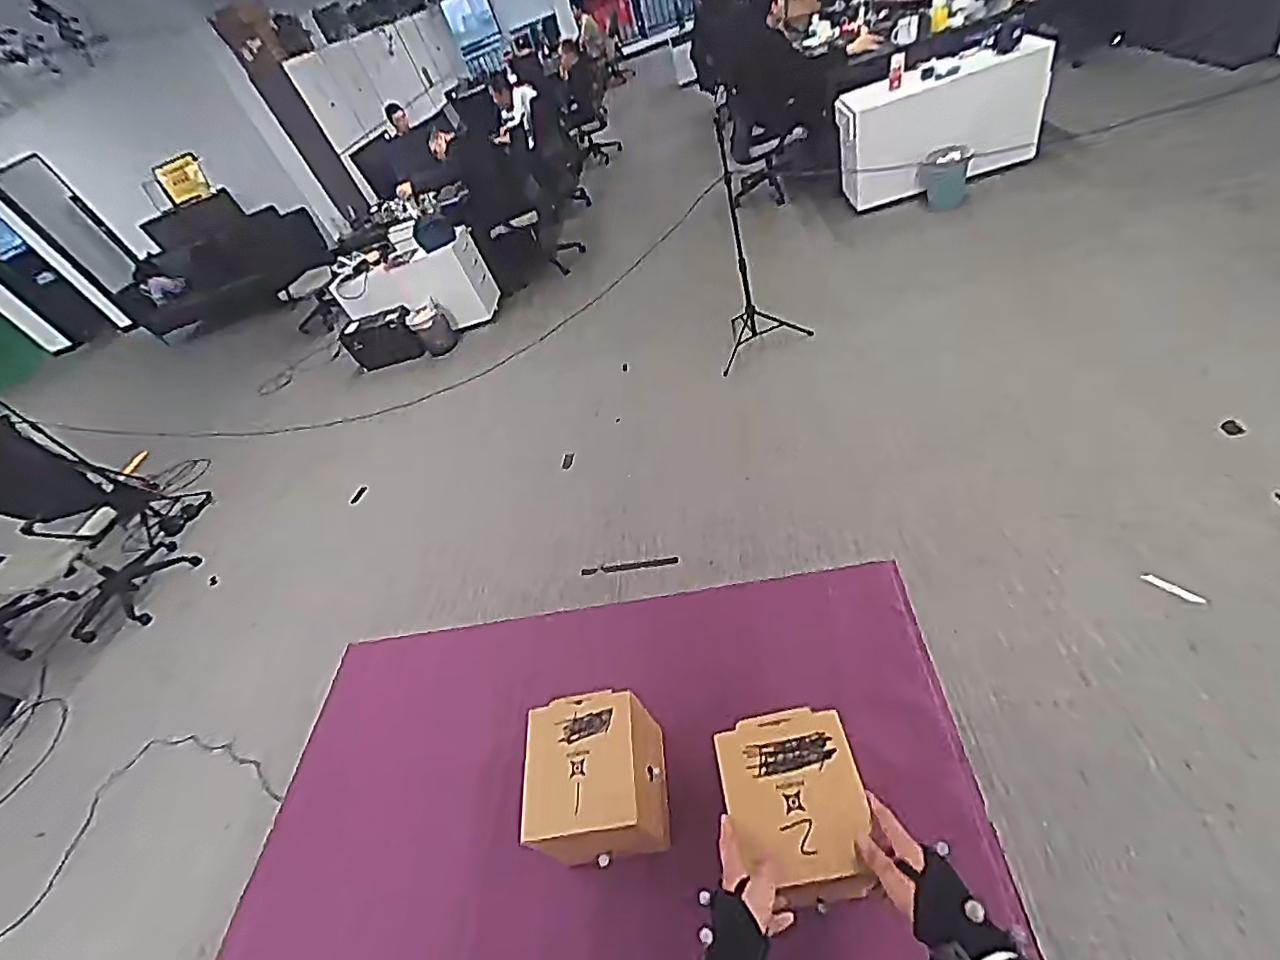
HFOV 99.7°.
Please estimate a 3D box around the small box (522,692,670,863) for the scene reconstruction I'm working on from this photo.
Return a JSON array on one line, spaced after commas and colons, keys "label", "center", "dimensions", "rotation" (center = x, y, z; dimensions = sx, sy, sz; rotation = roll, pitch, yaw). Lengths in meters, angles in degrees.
[{"label": "small box", "center": [-0.060, 0.451, 0.817], "dimensions": [0.168, 0.176, 0.179], "rotation": [-15, 44, 10]}]
